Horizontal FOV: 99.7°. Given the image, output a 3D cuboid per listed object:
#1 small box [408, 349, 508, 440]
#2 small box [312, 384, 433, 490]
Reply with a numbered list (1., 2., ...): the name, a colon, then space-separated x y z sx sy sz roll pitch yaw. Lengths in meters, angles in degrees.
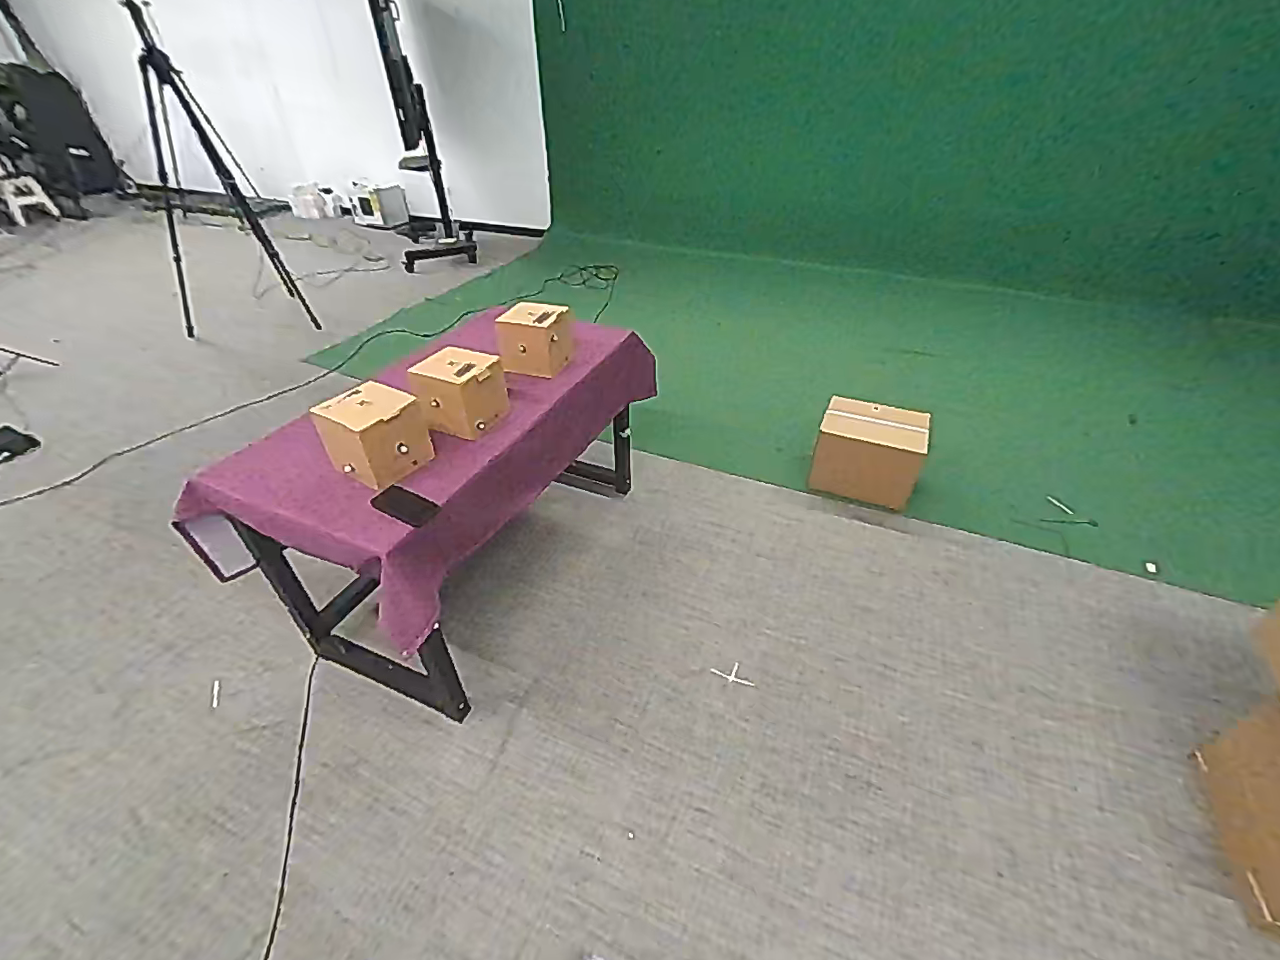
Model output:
1. small box: -0.473 -0.224 1.434 0.179 0.176 0.168 15 40 20
2. small box: -0.621 -0.099 1.277 0.179 0.176 0.168 21 43 25
